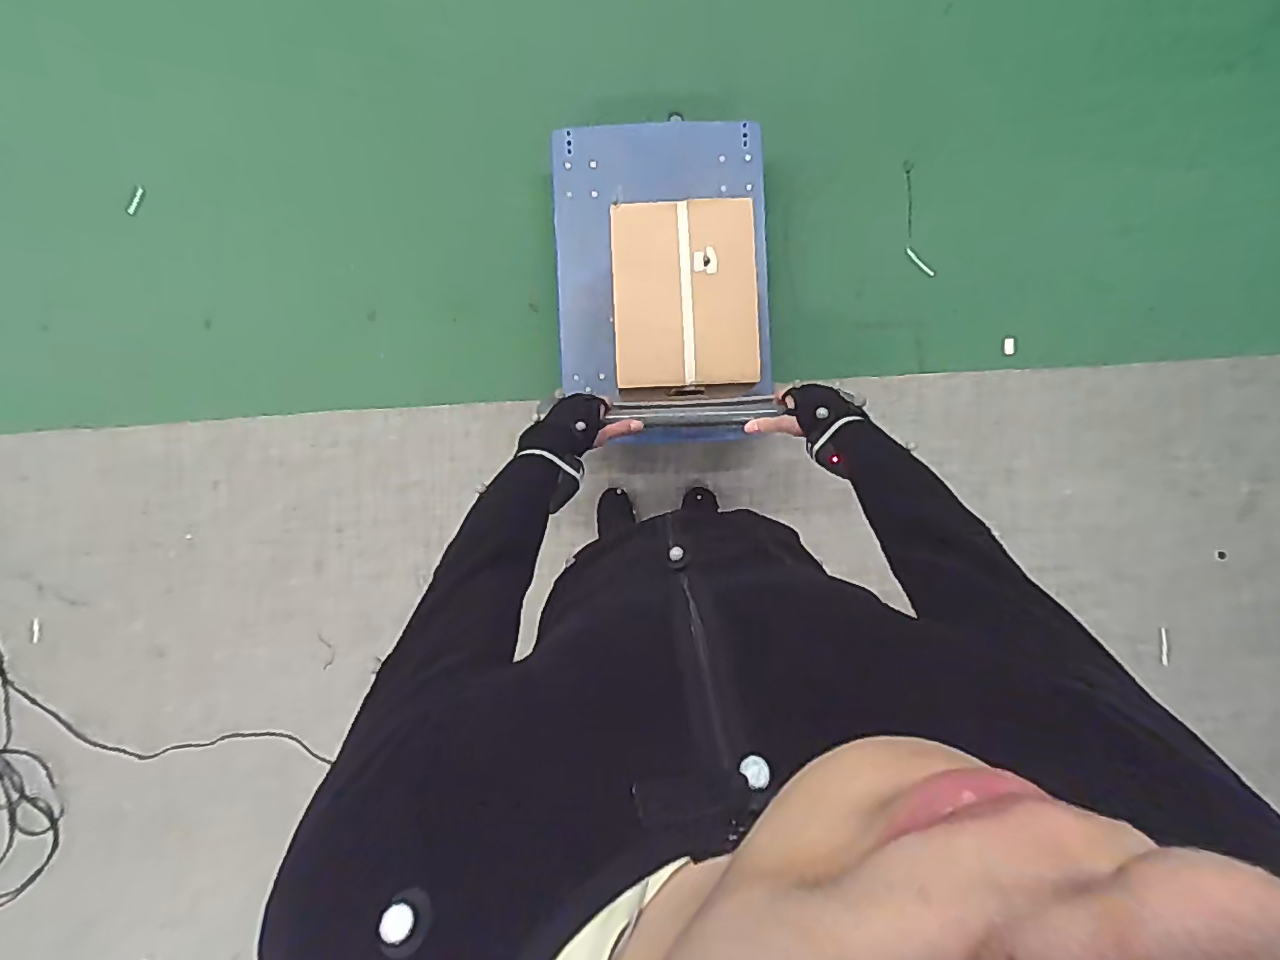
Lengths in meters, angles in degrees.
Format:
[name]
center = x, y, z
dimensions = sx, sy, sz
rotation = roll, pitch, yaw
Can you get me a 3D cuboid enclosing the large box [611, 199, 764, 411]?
[large box]
center = 0.101, -0.395, 1.305
dimensions = 0.320, 0.320, 0.408
rotation = -3, 89, -1
